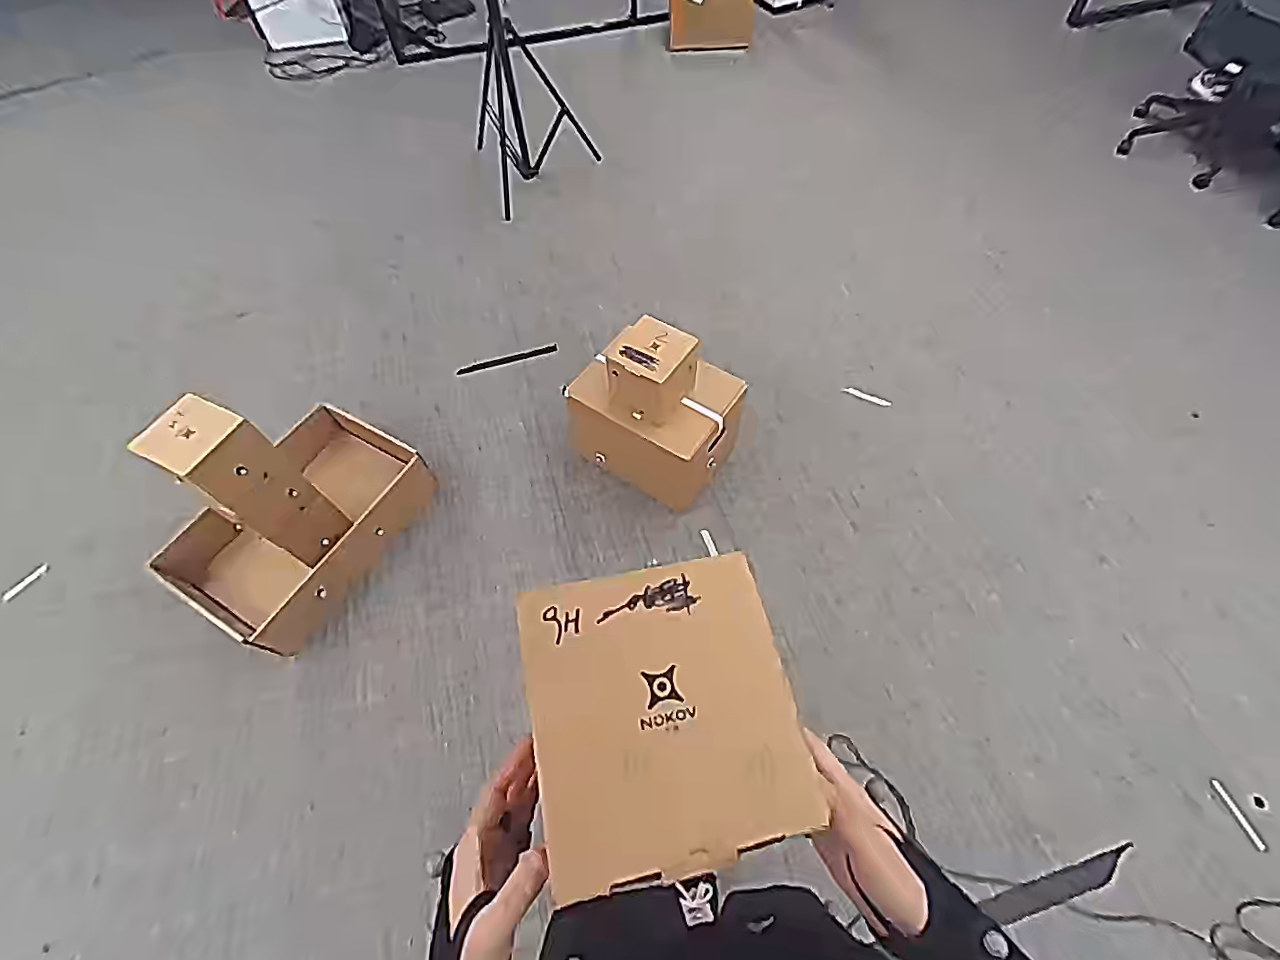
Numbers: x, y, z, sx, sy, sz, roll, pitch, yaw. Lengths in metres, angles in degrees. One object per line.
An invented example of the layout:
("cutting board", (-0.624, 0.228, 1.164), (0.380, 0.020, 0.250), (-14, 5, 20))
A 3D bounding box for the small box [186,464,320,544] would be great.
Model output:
("small box", (-0.956, 0.039, 1.354), (0.179, 0.176, 0.168), (21, 61, 15))

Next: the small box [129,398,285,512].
("small box", (-0.956, -0.049, 1.214), (0.179, 0.176, 0.168), (21, 61, 13))

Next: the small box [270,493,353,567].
("small box", (-0.947, 0.118, 1.496), (0.179, 0.176, 0.168), (26, 64, 15))

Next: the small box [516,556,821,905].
("small box", (0.006, 0.177, 0.412), (0.168, 0.176, 0.179), (-9, 64, -11))
